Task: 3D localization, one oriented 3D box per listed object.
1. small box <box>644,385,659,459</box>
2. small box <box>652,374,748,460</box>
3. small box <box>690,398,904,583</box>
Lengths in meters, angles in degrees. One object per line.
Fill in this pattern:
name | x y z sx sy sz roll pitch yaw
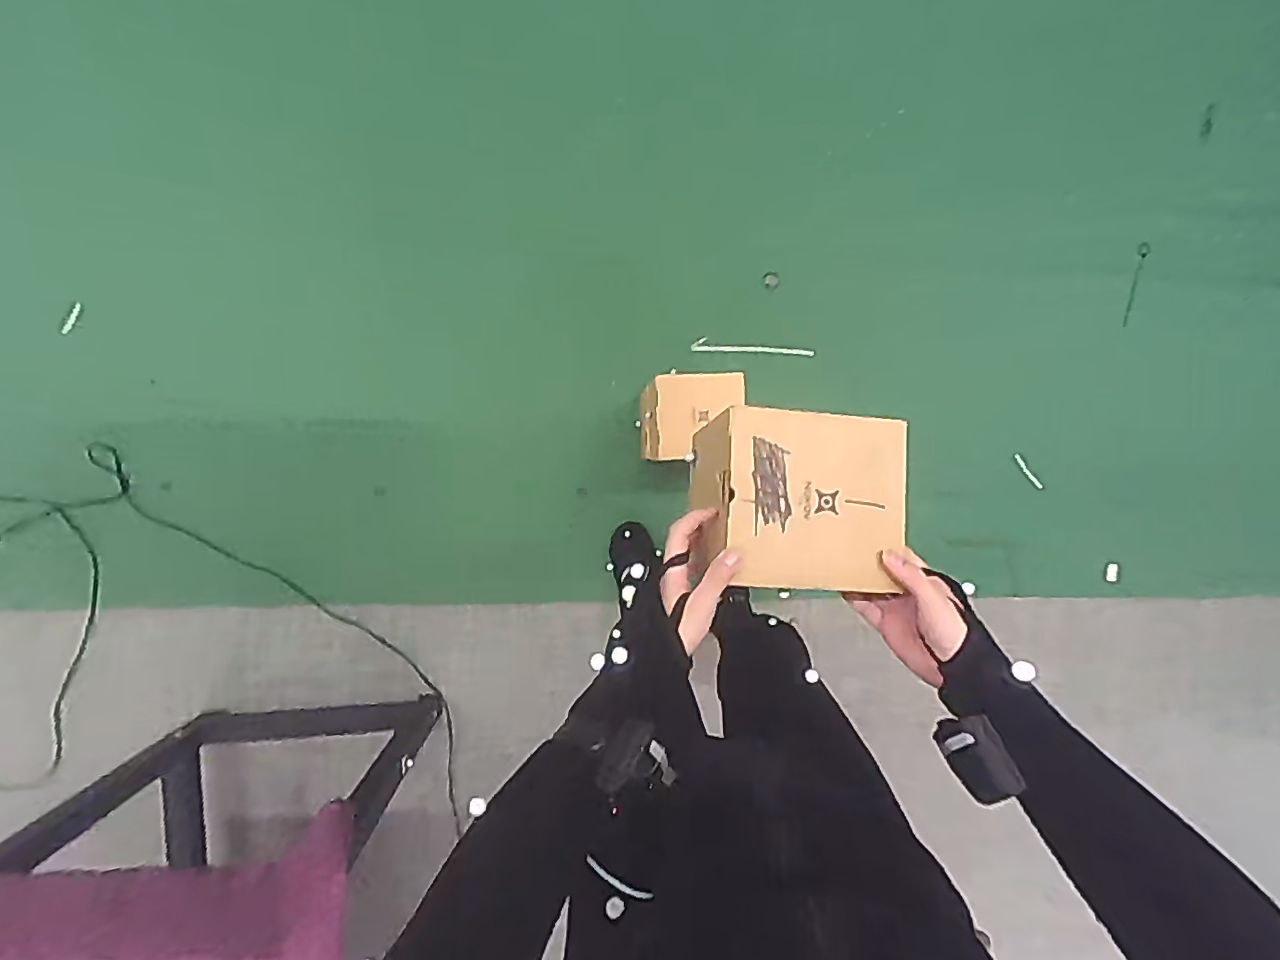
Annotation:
small box | 0.105 -0.134 1.294 0.179 0.176 0.168 0 93 -3
small box | 0.121 -0.128 1.132 0.179 0.176 0.168 -3 93 -3
small box | 0.155 0.018 0.583 0.179 0.176 0.168 4 85 -7
